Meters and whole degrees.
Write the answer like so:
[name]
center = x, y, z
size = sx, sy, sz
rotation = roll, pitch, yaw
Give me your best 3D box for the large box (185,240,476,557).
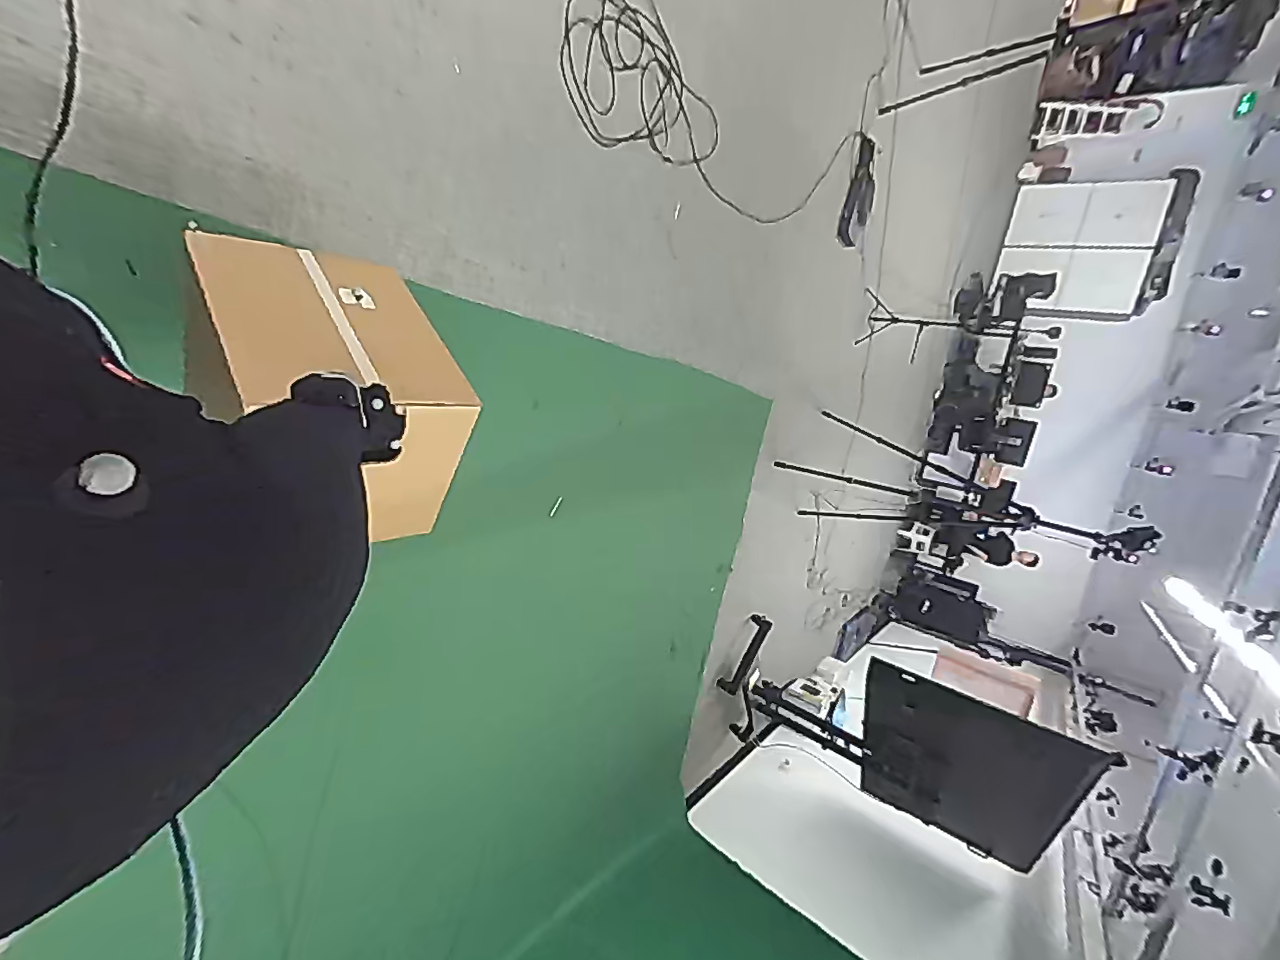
[large box]
center = -0.541, -0.138, 0.925
size = 0.320, 0.408, 0.320
rotation = -8, 141, -46
